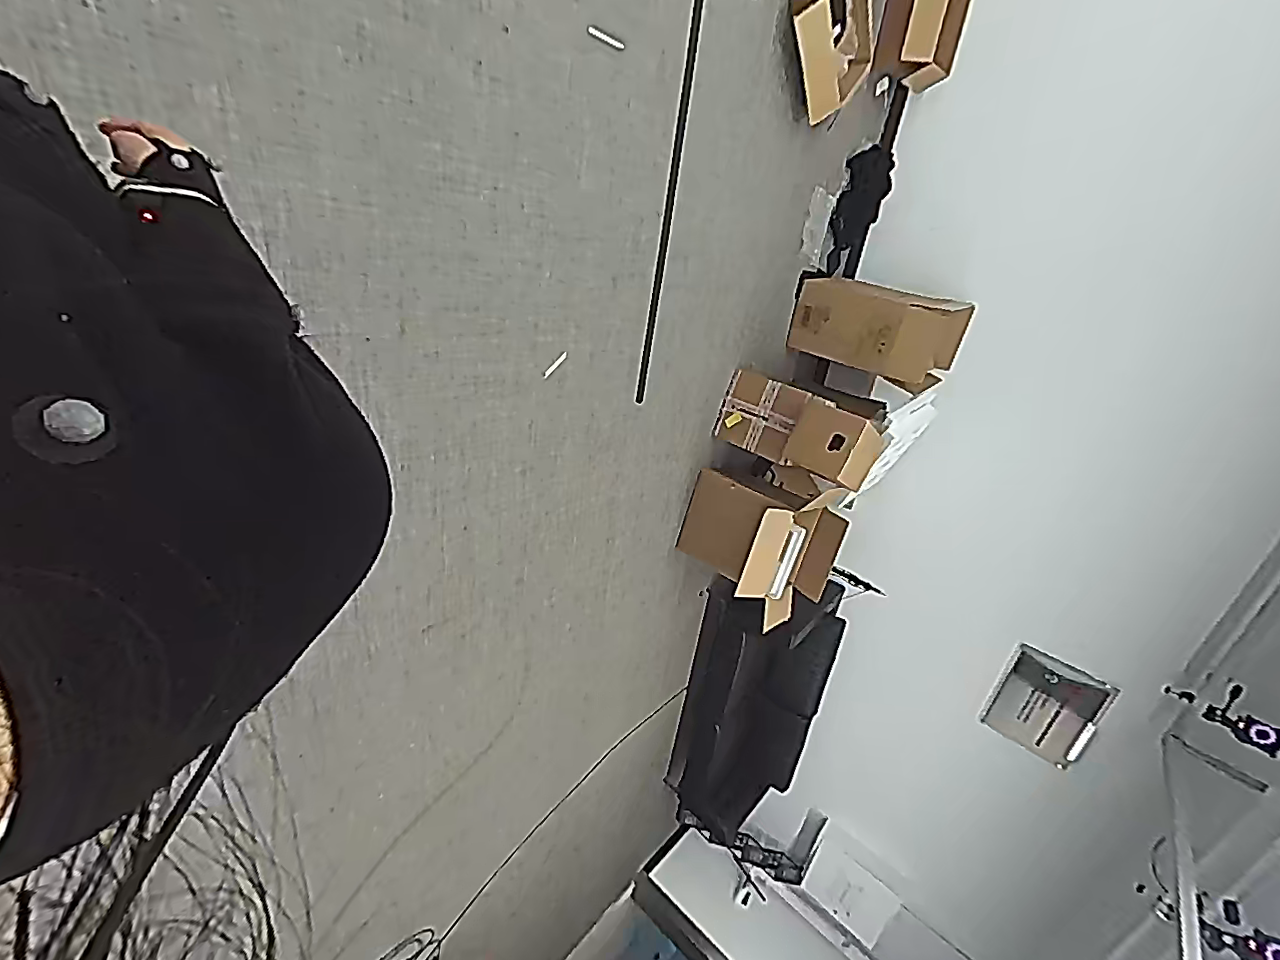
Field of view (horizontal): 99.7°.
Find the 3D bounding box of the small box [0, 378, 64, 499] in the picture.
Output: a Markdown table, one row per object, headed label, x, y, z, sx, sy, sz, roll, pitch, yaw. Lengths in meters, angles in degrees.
| label | x | y | z | sx | sy | sz | roll | pitch | yaw |
| --- | --- | --- | --- | --- | --- | --- | --- | --- | --- |
| small box | -1.164 | -0.072 | 0.945 | 0.168 | 0.176 | 0.179 | -23 | 129 | -44 |
